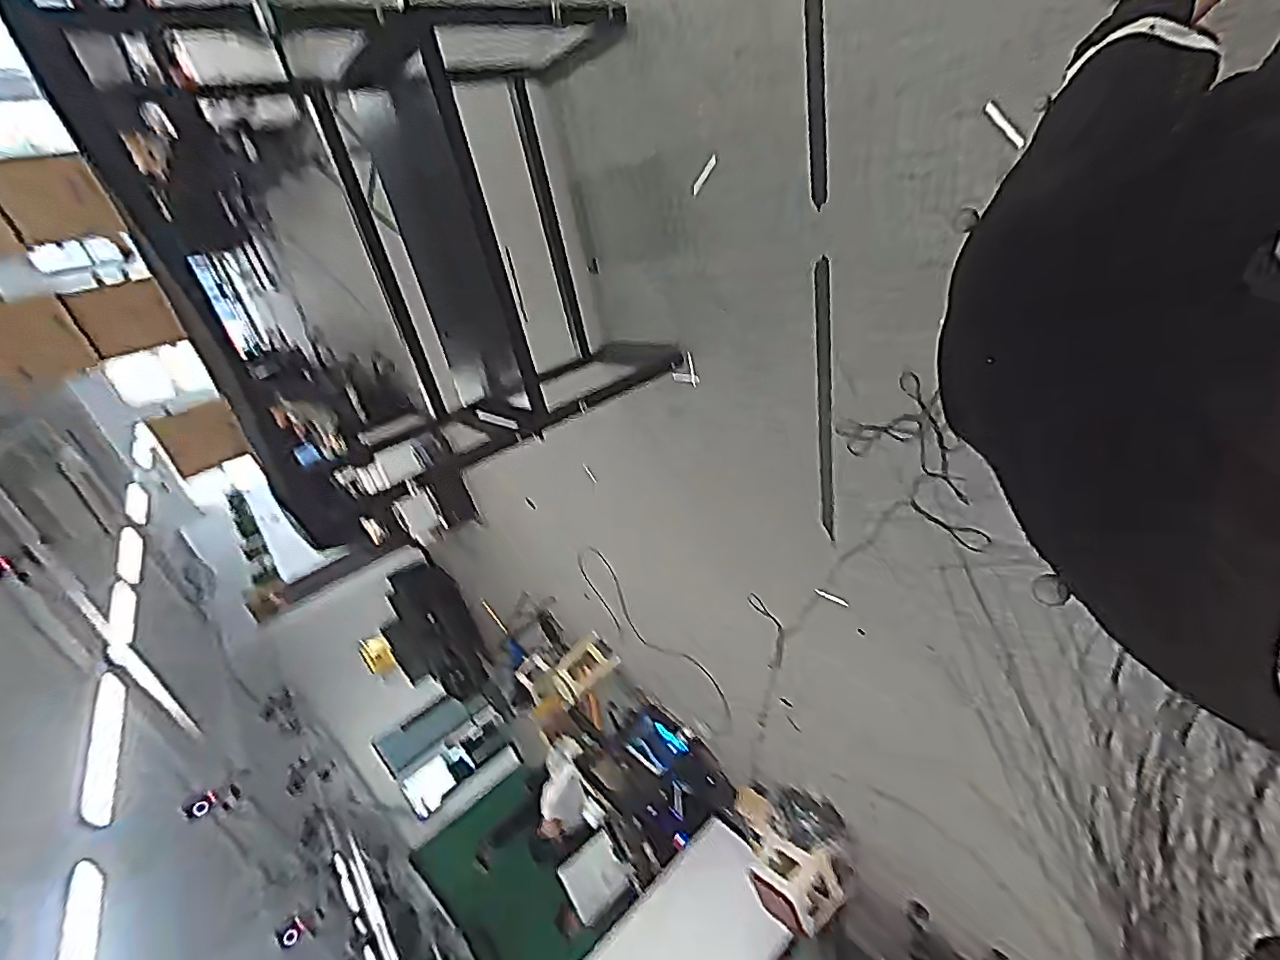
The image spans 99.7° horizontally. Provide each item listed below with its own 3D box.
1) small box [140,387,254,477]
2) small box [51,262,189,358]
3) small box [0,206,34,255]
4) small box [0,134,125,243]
[{"bbox_3d":[-1.109,-0.129,1.367,0.179,0.176,0.168,18,130,50],"label":"small box"},{"bbox_3d":[-1.162,-0.390,1.222,0.179,0.176,0.168,24,134,45],"label":"small box"},{"bbox_3d":[-1.320,-0.518,1.014,0.168,0.176,0.179,18,129,49],"label":"small box"},{"bbox_3d":[-1.204,-0.593,1.108,0.179,0.176,0.168,22,134,46],"label":"small box"}]
